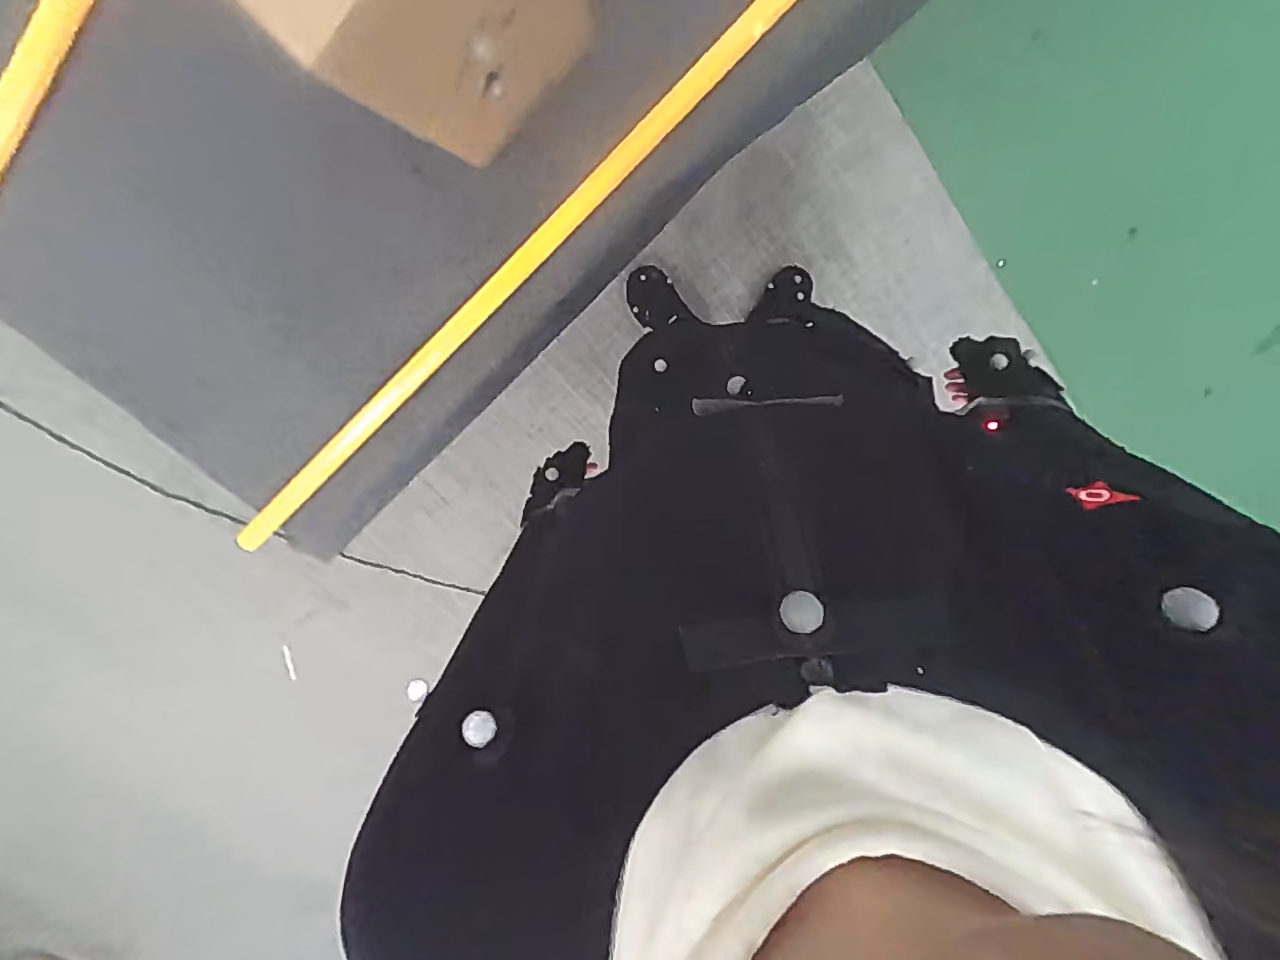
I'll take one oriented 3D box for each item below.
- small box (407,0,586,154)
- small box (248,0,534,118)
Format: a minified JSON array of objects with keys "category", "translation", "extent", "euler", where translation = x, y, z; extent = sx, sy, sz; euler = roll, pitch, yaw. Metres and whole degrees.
[{"category":"small box","translation":[-0.165,-0.411,0.449],"extent":[0.168,0.176,0.179],"euler":[-40,107,16]},{"category":"small box","translation":[-0.165,-0.346,0.297],"extent":[0.168,0.176,0.179],"euler":[-41,108,15]}]
